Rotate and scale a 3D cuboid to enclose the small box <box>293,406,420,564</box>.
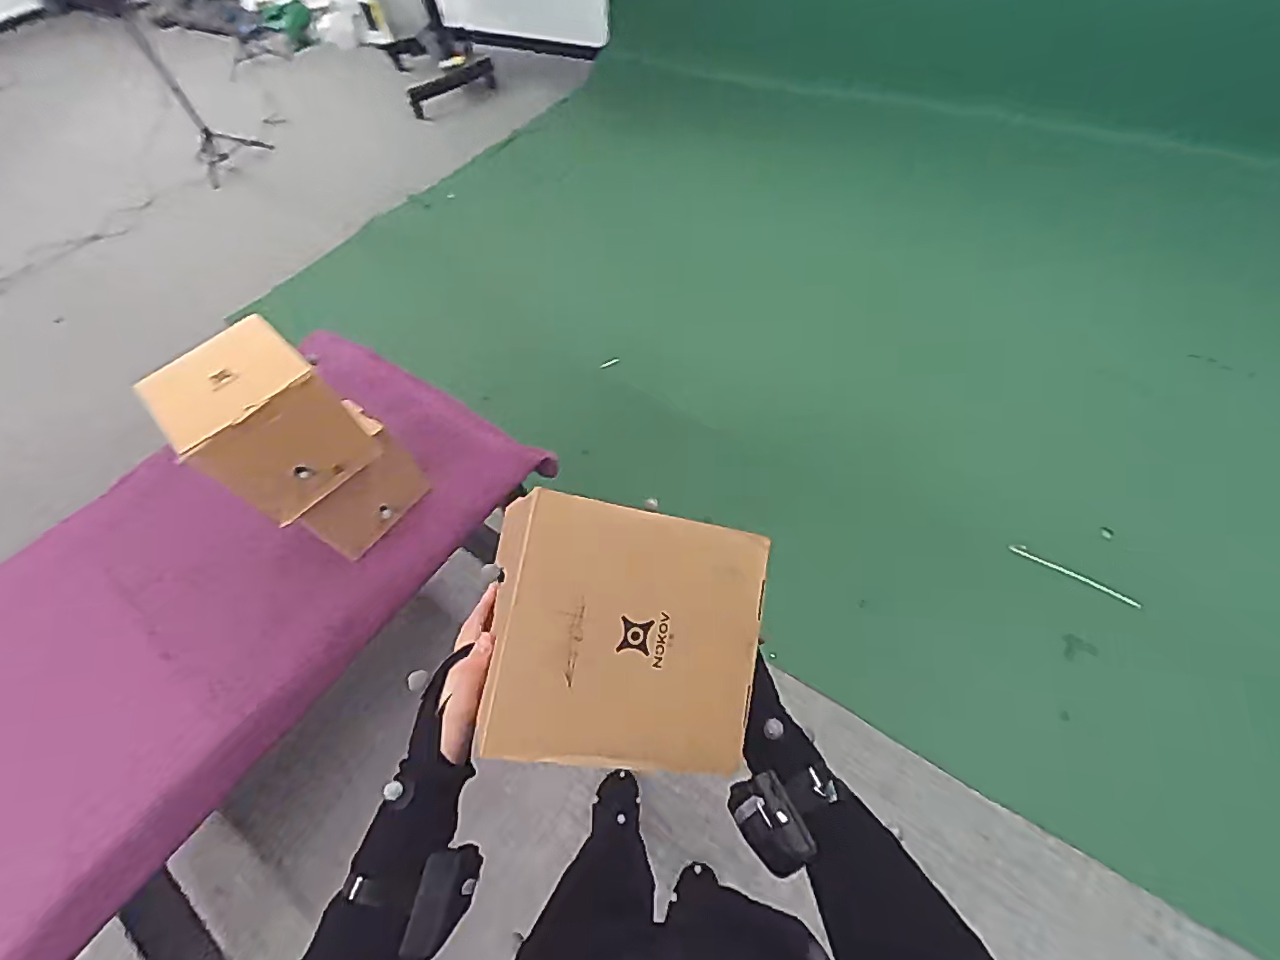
[{"bbox_3d":[-0.487,0.002,0.874,0.168,0.176,0.179,26,63,25],"label":"small box"}]

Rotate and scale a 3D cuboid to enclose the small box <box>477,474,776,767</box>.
[{"bbox_3d":[-0.021,0.104,0.429,0.179,0.176,0.168,15,78,-15],"label":"small box"}]

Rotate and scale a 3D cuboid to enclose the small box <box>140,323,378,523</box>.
[{"bbox_3d":[-0.499,-0.073,0.728,0.179,0.176,0.168,35,67,27],"label":"small box"}]
